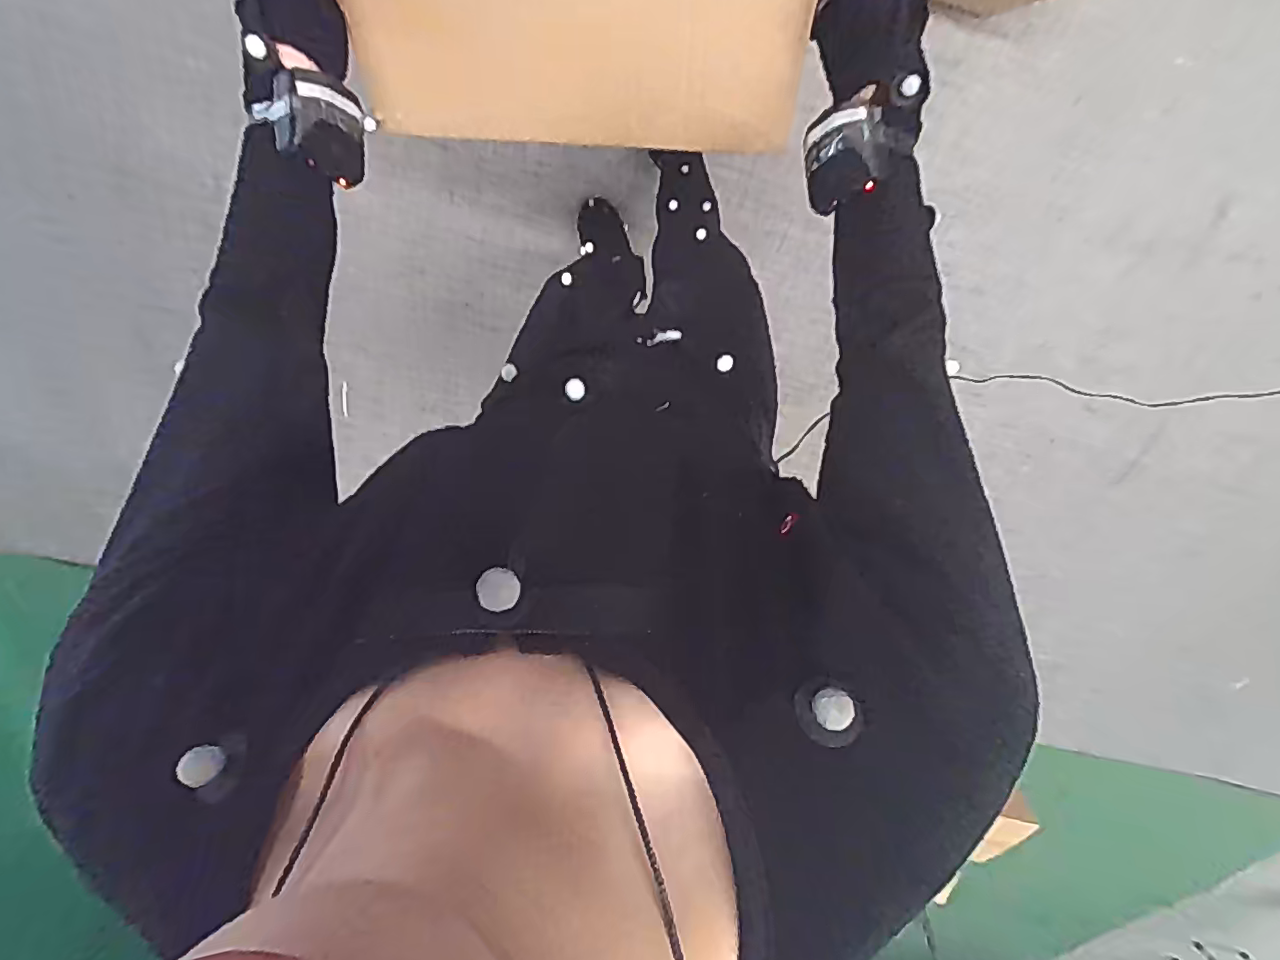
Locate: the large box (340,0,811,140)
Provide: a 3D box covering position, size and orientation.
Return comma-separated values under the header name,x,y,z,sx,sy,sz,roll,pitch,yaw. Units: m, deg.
name,x,y,z,sx,sy,sz,roll,pitch,yaw
large box,-0.044,-0.552,0.495,0.408,0.320,0.320,4,143,2
